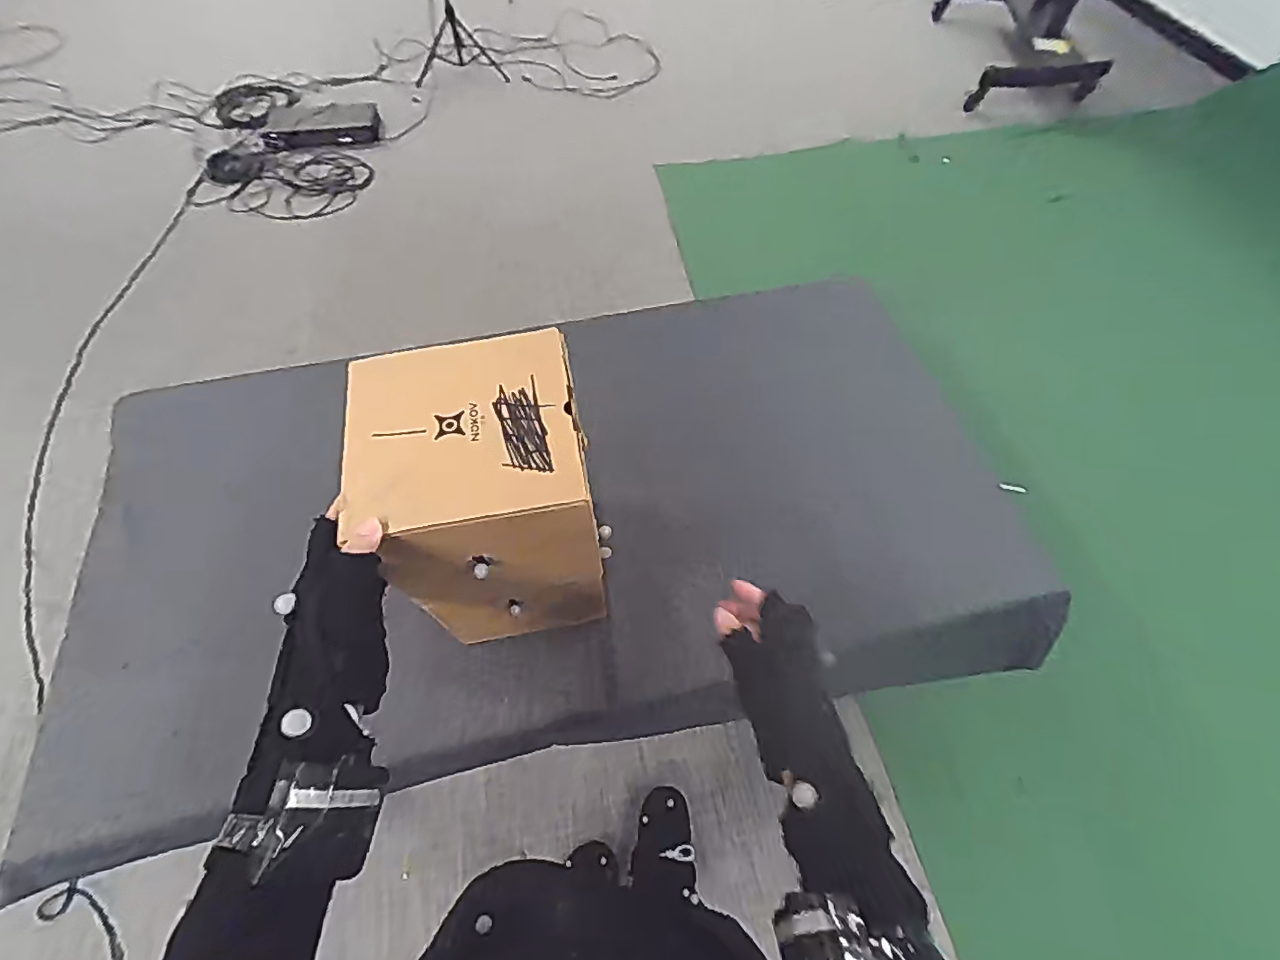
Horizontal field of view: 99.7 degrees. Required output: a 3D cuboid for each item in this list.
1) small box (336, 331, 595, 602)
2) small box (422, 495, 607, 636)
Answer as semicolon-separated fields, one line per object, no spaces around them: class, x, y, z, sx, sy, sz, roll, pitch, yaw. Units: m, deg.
small box;-0.139;-0.003;0.484;0.179;0.176;0.168;-11;63;-4
small box;-0.140;0.071;0.631;0.179;0.176;0.168;-11;62;-7
